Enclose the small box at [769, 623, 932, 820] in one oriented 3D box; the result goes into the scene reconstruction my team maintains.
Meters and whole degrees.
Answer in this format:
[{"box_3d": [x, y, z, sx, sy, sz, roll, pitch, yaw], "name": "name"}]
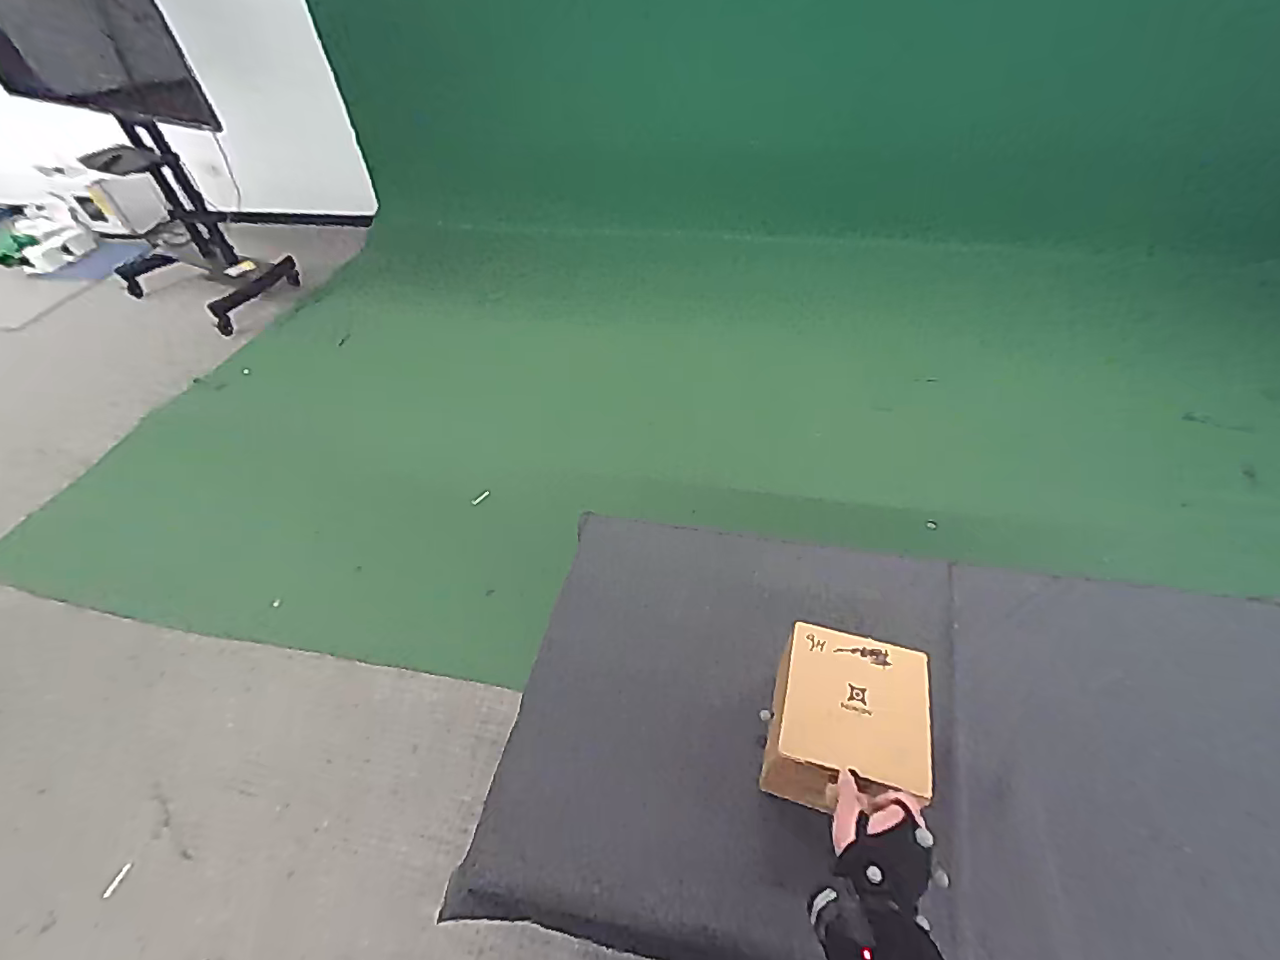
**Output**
[{"box_3d": [0.267, 0.320, 0.715, 0.168, 0.176, 0.179, 8, 48, 13], "name": "small box"}]
